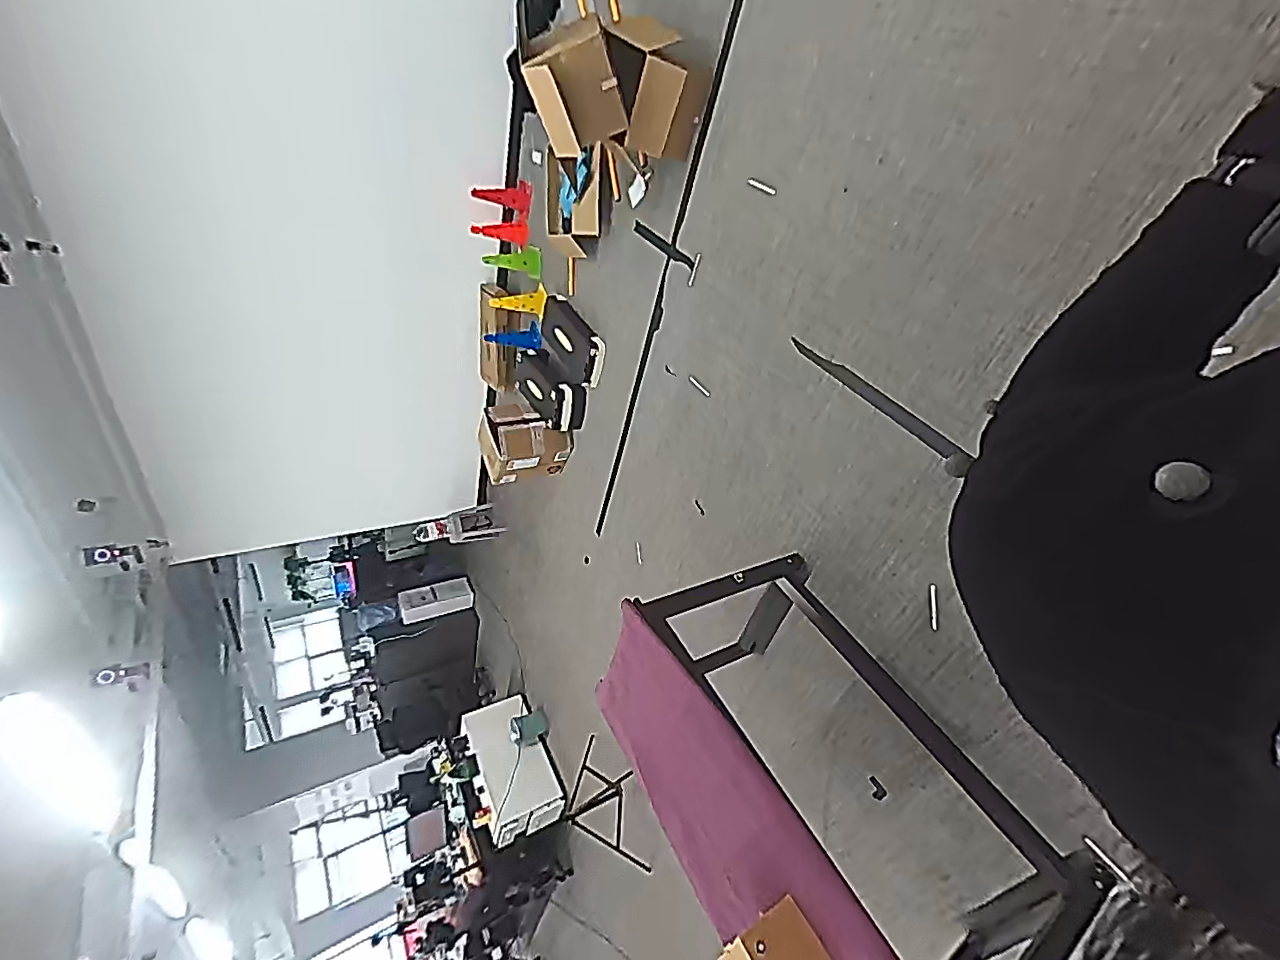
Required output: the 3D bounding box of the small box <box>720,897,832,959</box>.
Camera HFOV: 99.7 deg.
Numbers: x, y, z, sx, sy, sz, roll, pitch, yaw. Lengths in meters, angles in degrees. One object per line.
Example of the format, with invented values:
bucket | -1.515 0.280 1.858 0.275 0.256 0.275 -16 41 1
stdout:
small box | 0.311 1.081 1.193 0.179 0.176 0.168 49 137 41
